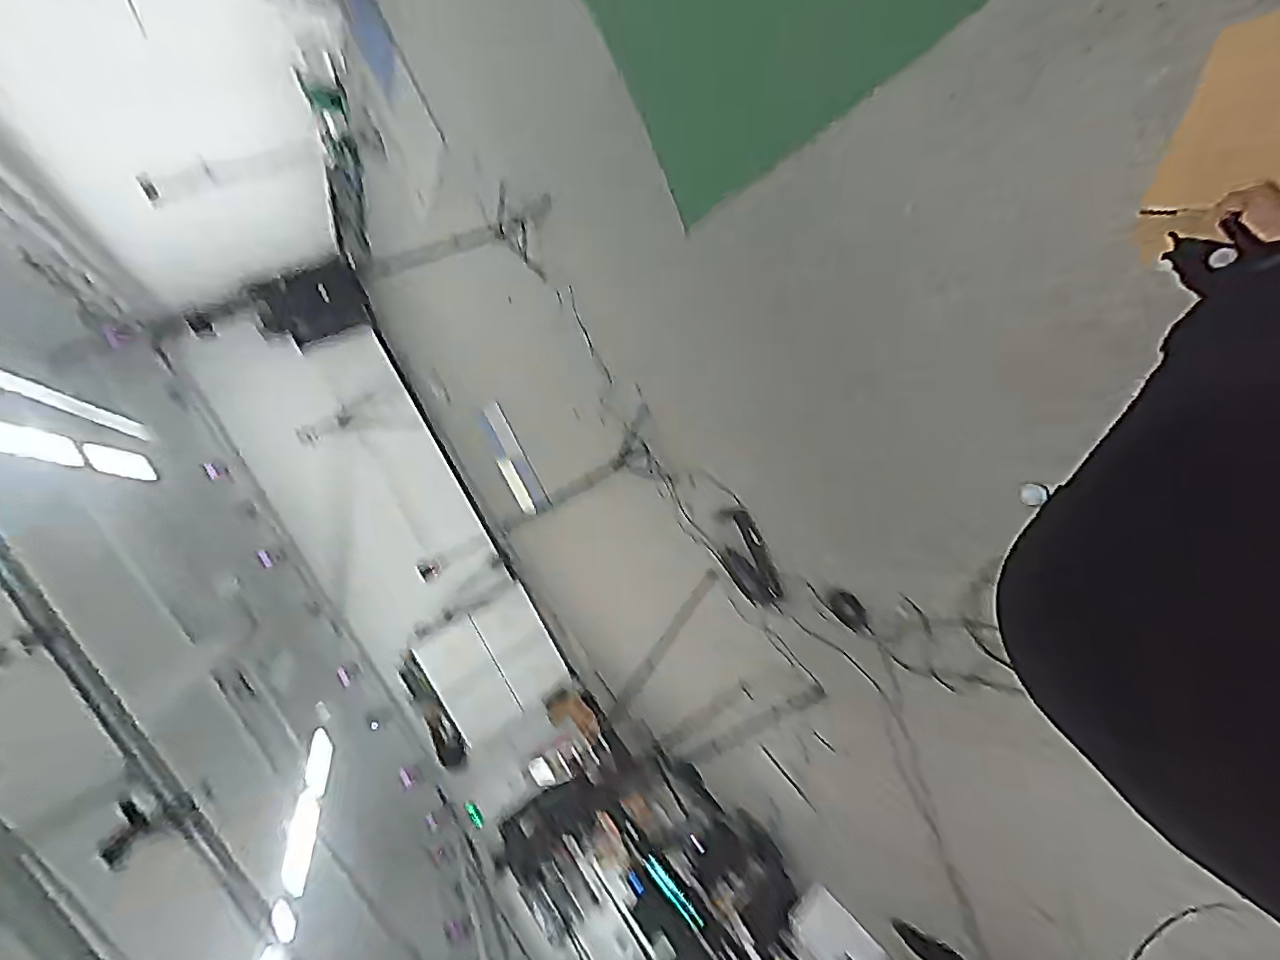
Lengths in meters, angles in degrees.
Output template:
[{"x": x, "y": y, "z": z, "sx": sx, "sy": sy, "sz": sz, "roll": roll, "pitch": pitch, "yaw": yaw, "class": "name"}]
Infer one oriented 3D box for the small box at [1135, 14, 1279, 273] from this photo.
[{"x": 0.626, "y": -0.316, "z": 0.523, "sx": 0.168, "sy": 0.179, "sz": 0.176, "roll": 29, "pitch": 108, "yaw": 38, "class": "small box"}]
